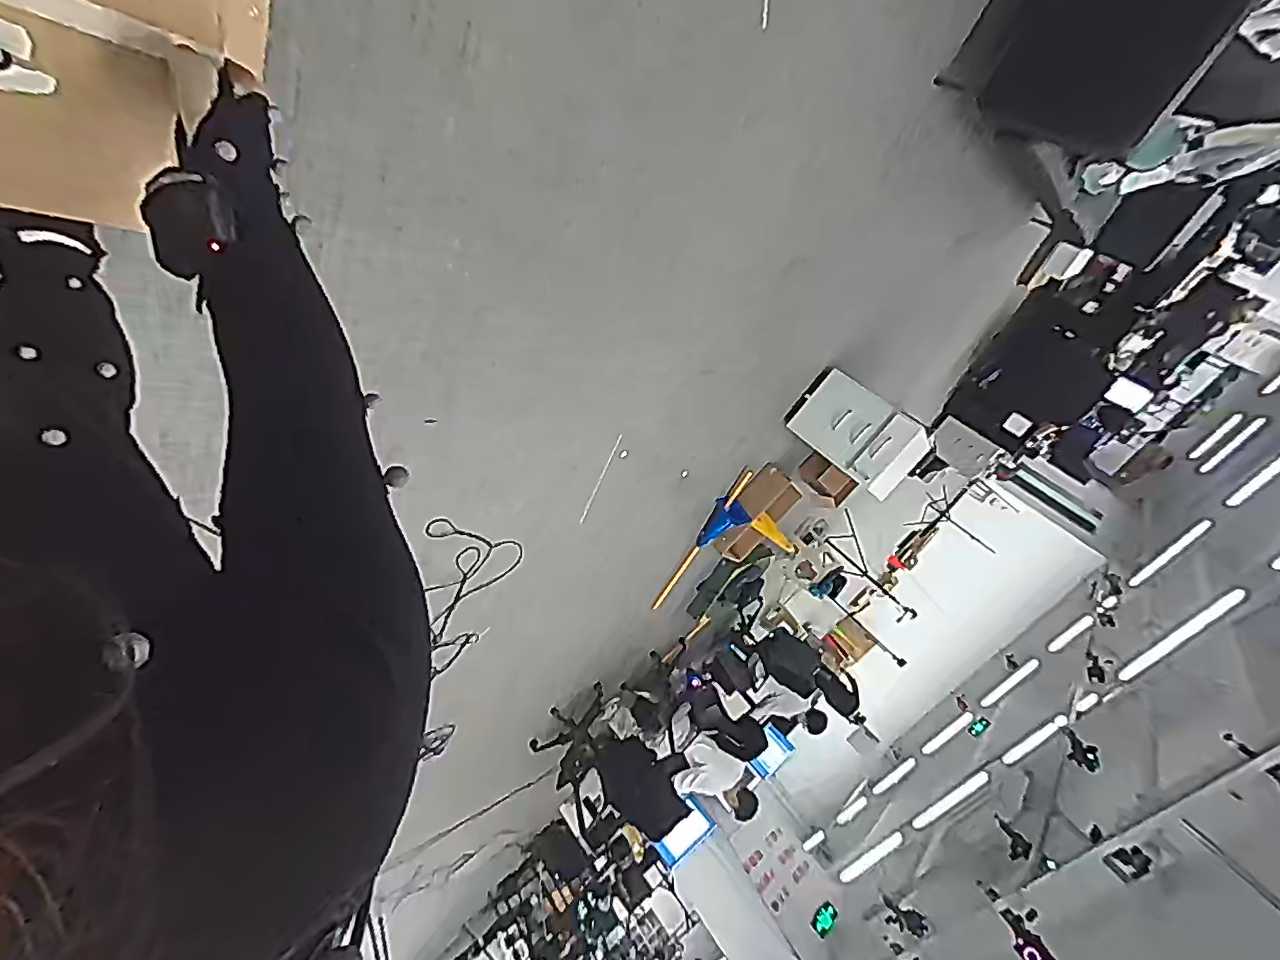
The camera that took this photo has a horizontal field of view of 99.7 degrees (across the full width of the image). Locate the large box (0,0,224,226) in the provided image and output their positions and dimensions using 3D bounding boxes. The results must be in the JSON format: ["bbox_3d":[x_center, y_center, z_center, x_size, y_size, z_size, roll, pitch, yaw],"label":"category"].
[{"bbox_3d":[-0.602,-0.438,0.411,0.408,0.320,0.320,-9,131,-47],"label":"large box"}]
